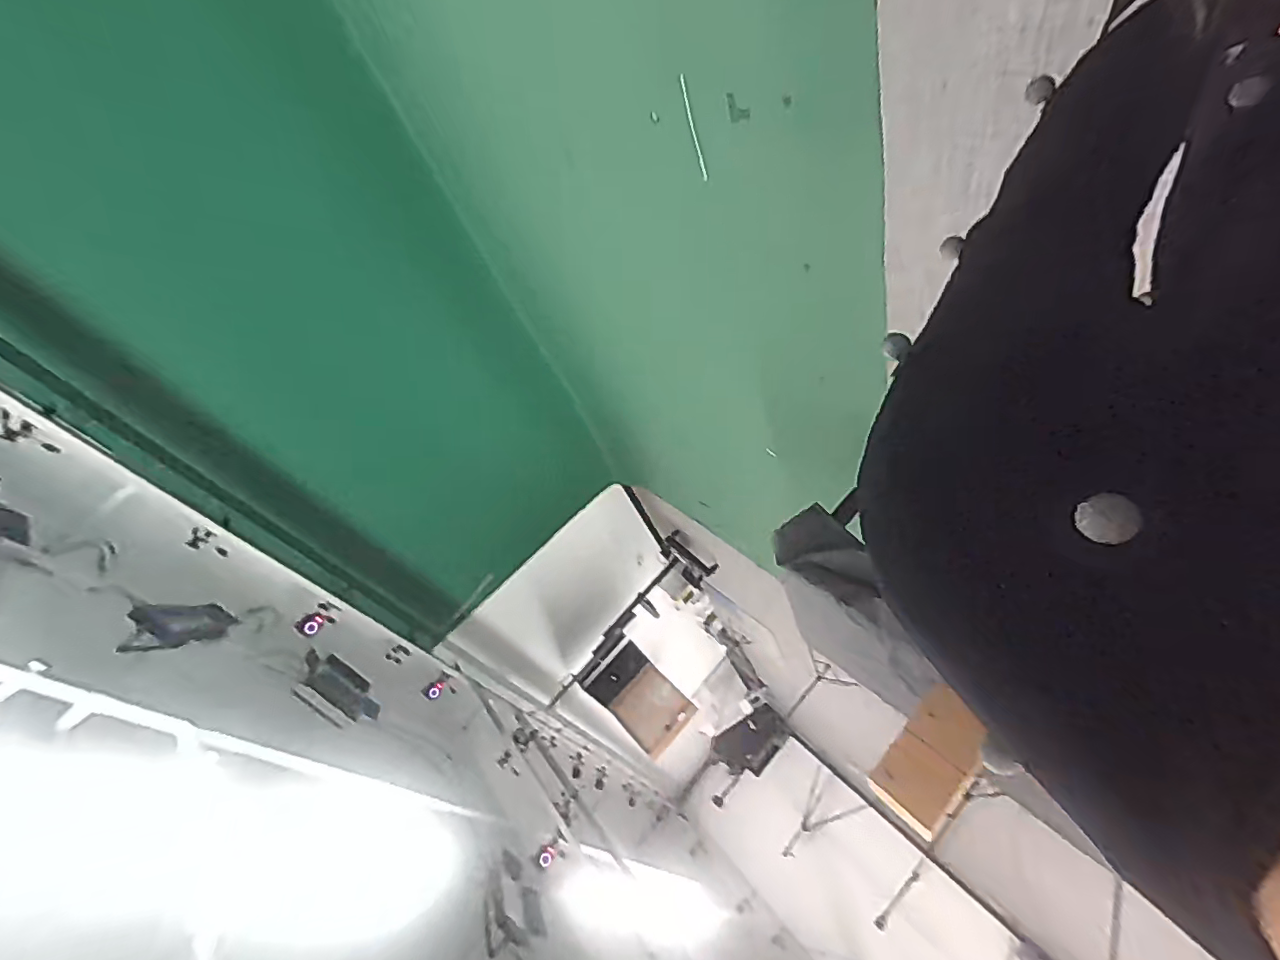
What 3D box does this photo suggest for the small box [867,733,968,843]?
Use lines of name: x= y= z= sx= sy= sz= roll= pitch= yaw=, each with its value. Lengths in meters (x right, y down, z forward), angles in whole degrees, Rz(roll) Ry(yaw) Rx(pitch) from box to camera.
small box: x=0.725 y=0.803 z=1.416 sx=0.179 sy=0.176 sz=0.168 roll=35 pitch=163 yaw=41
